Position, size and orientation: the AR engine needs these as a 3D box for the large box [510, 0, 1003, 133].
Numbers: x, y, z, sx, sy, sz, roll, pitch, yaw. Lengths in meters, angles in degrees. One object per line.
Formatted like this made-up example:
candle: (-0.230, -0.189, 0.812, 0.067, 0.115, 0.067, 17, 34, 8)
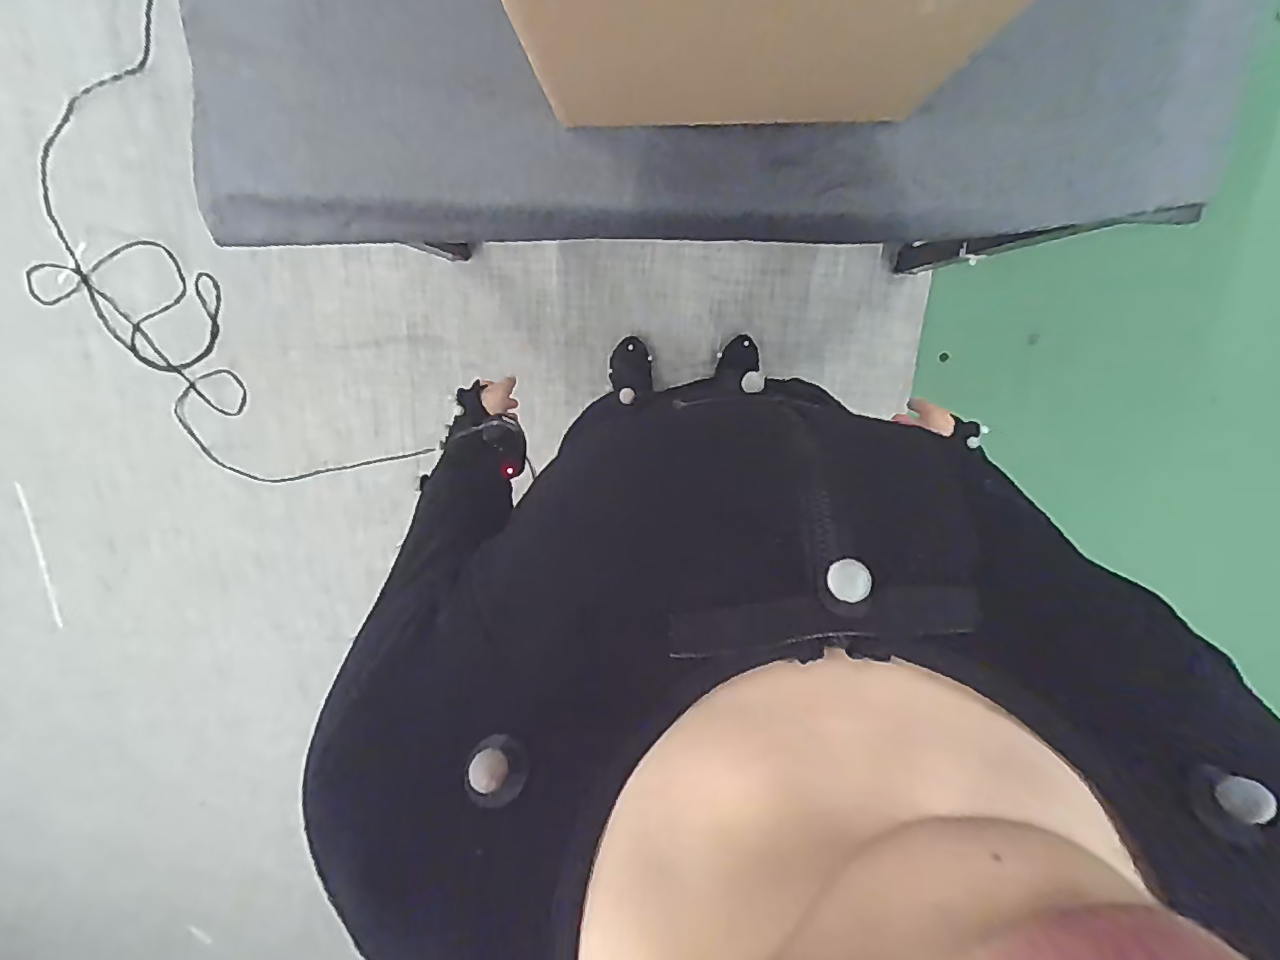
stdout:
large box: (0.093, -0.538, 0.471, 0.408, 0.320, 0.320, -1, 105, 2)
